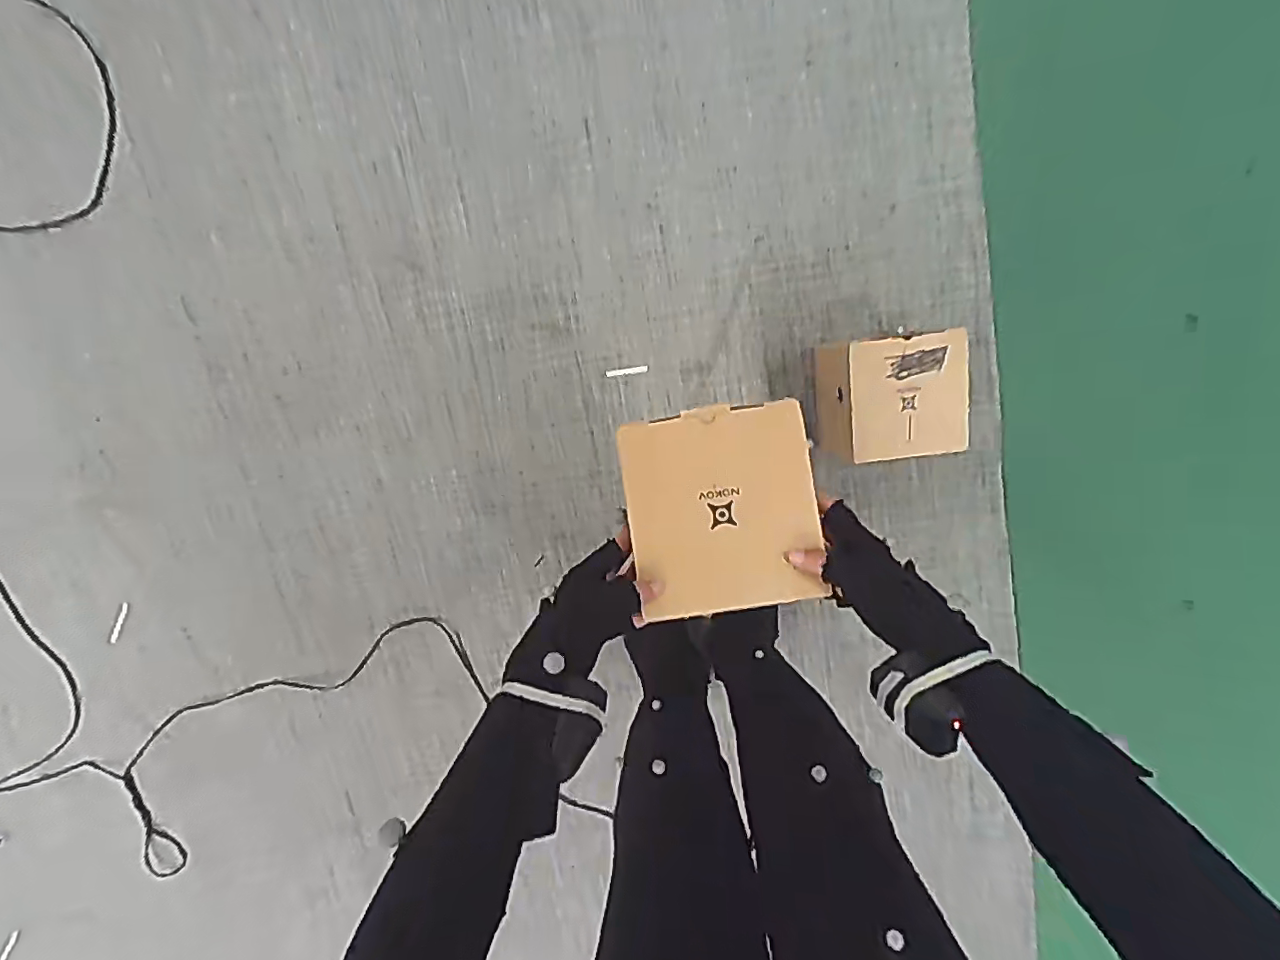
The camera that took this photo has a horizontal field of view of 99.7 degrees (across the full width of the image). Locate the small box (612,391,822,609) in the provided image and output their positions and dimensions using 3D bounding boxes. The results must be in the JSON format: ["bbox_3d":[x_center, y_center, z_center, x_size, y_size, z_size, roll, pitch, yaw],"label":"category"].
[{"bbox_3d":[0.072,0.023,0.558,0.168,0.176,0.179,-9,84,2],"label":"small box"}]

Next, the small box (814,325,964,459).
[{"bbox_3d":[0.379,-0.138,0.847,0.168,0.176,0.179,-7,101,3],"label":"small box"}]
